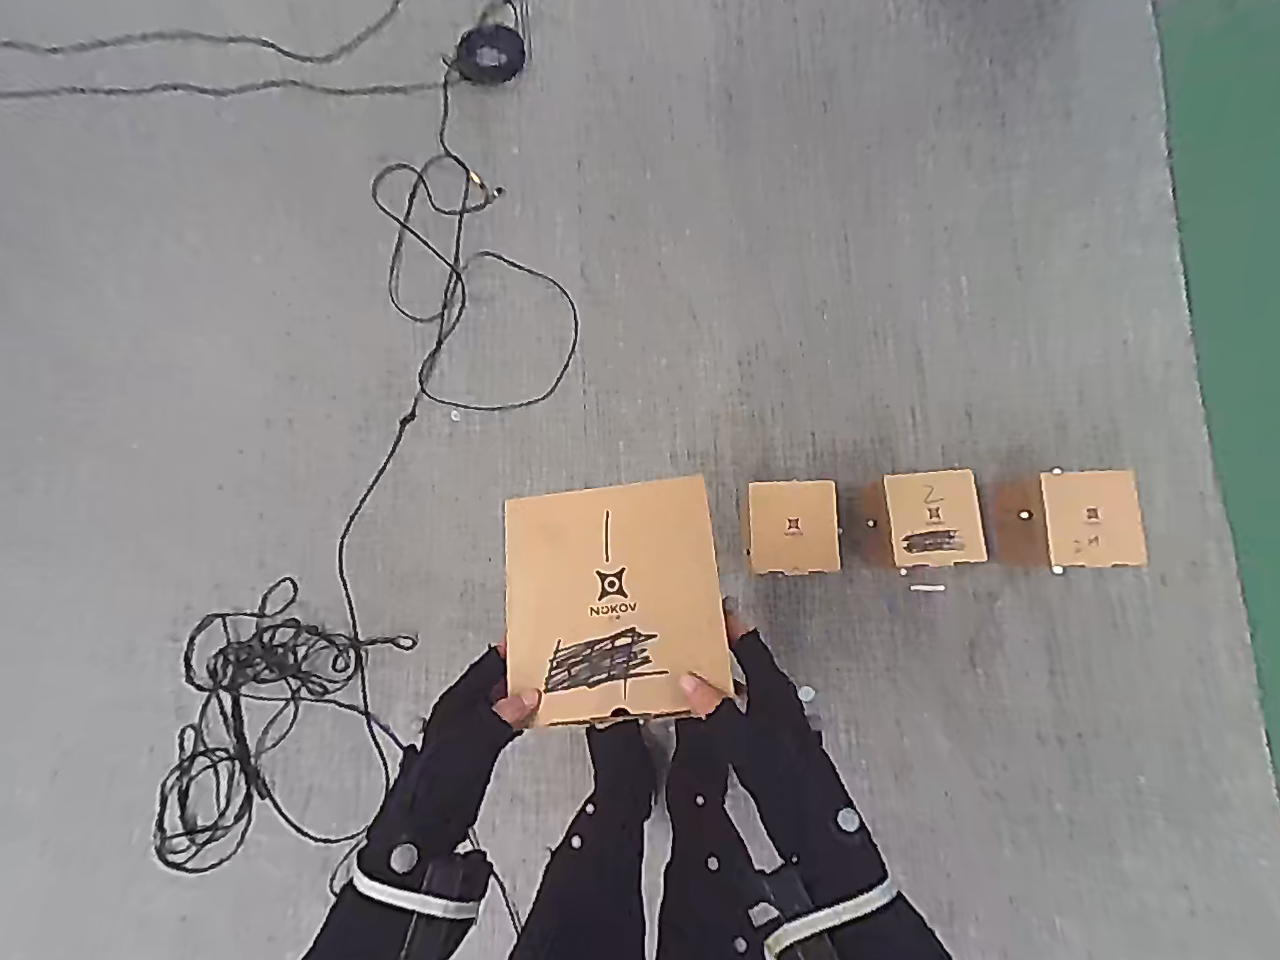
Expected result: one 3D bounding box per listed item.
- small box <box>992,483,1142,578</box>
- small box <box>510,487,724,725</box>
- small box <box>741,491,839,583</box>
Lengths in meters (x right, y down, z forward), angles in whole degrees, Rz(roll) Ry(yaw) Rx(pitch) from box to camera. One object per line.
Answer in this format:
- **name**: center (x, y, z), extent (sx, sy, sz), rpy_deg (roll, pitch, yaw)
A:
- **small box**: center (0.828, 0.104, 1.069), extent (0.168, 0.176, 0.179), rpy_deg (-1, 82, 6)
- **small box**: center (-0.012, 0.120, 0.502), extent (0.168, 0.176, 0.179), rpy_deg (-6, 70, 6)
- **small box**: center (0.300, 0.121, 1.113), extent (0.168, 0.176, 0.179), rpy_deg (-1, 81, 6)
